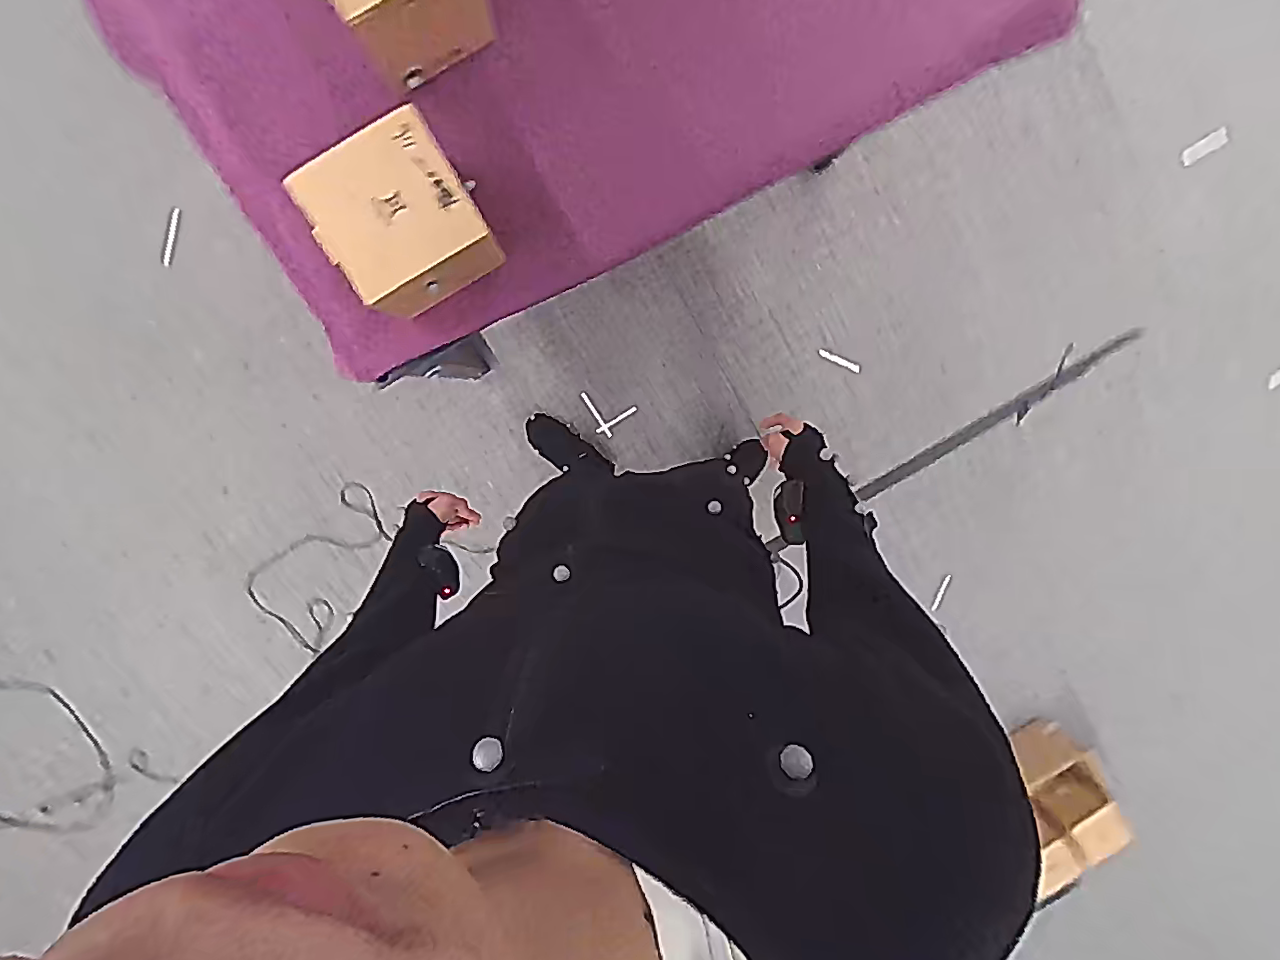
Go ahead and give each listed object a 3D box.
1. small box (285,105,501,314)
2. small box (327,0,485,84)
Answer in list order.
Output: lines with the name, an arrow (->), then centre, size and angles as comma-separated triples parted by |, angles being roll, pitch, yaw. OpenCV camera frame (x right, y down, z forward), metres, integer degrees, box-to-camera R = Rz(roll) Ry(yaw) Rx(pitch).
small box -> -0.311, -0.341, 0.724 | 0.179, 0.176, 0.168 | -31, 102, 1
small box -> -0.317, -0.642, 0.672 | 0.168, 0.176, 0.179 | -32, 101, 0
